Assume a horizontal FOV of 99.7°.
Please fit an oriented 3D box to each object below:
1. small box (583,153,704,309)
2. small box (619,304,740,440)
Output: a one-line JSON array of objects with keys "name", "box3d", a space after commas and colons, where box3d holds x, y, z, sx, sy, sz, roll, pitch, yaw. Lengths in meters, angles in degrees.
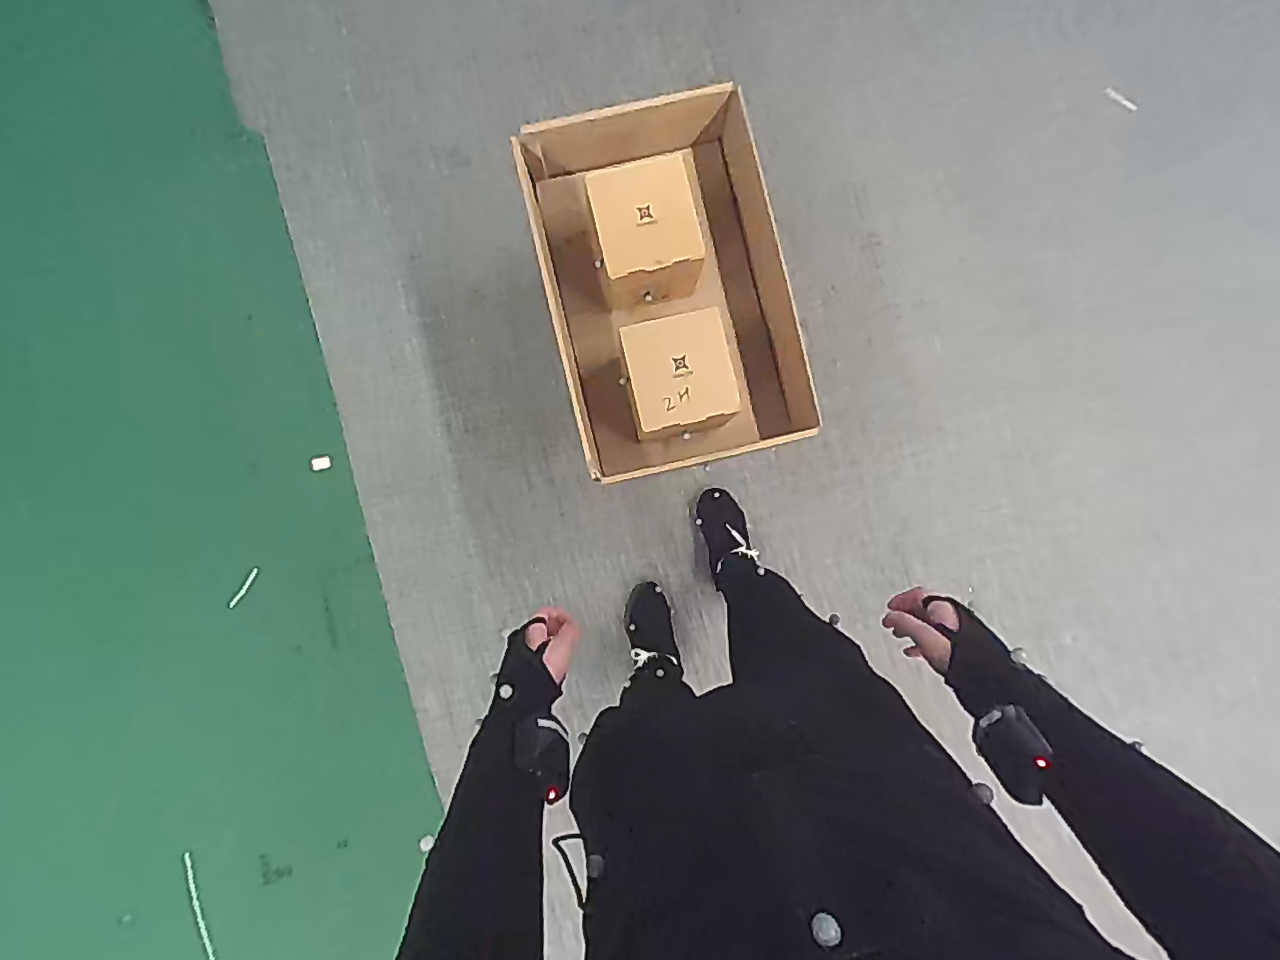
[{"name": "small box", "box3d": [0.002, -0.426, 0.950, 0.168, 0.176, 0.179, -15, 90, -2]}, {"name": "small box", "box3d": [0.060, -0.177, 0.937, 0.168, 0.176, 0.179, -13, 88, -1]}]
